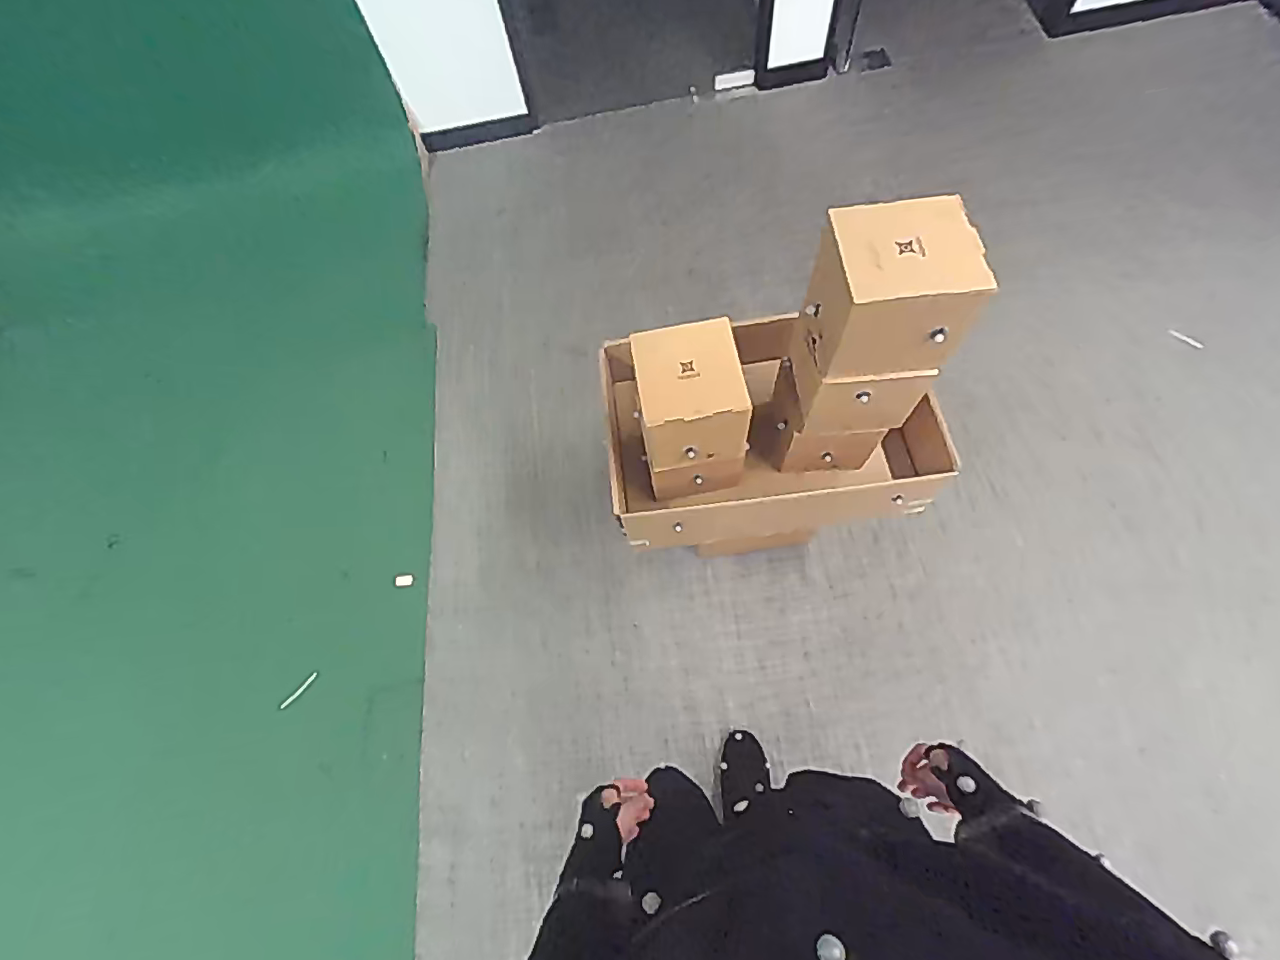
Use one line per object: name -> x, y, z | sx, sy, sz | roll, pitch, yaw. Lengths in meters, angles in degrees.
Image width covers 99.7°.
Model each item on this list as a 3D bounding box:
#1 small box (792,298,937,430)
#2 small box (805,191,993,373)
small box -> 0.358, -0.195, 0.907 | 0.179, 0.176, 0.168 | -4, 66, 4
small box -> 0.347, -0.269, 0.762 | 0.179, 0.176, 0.168 | -5, 66, 5
